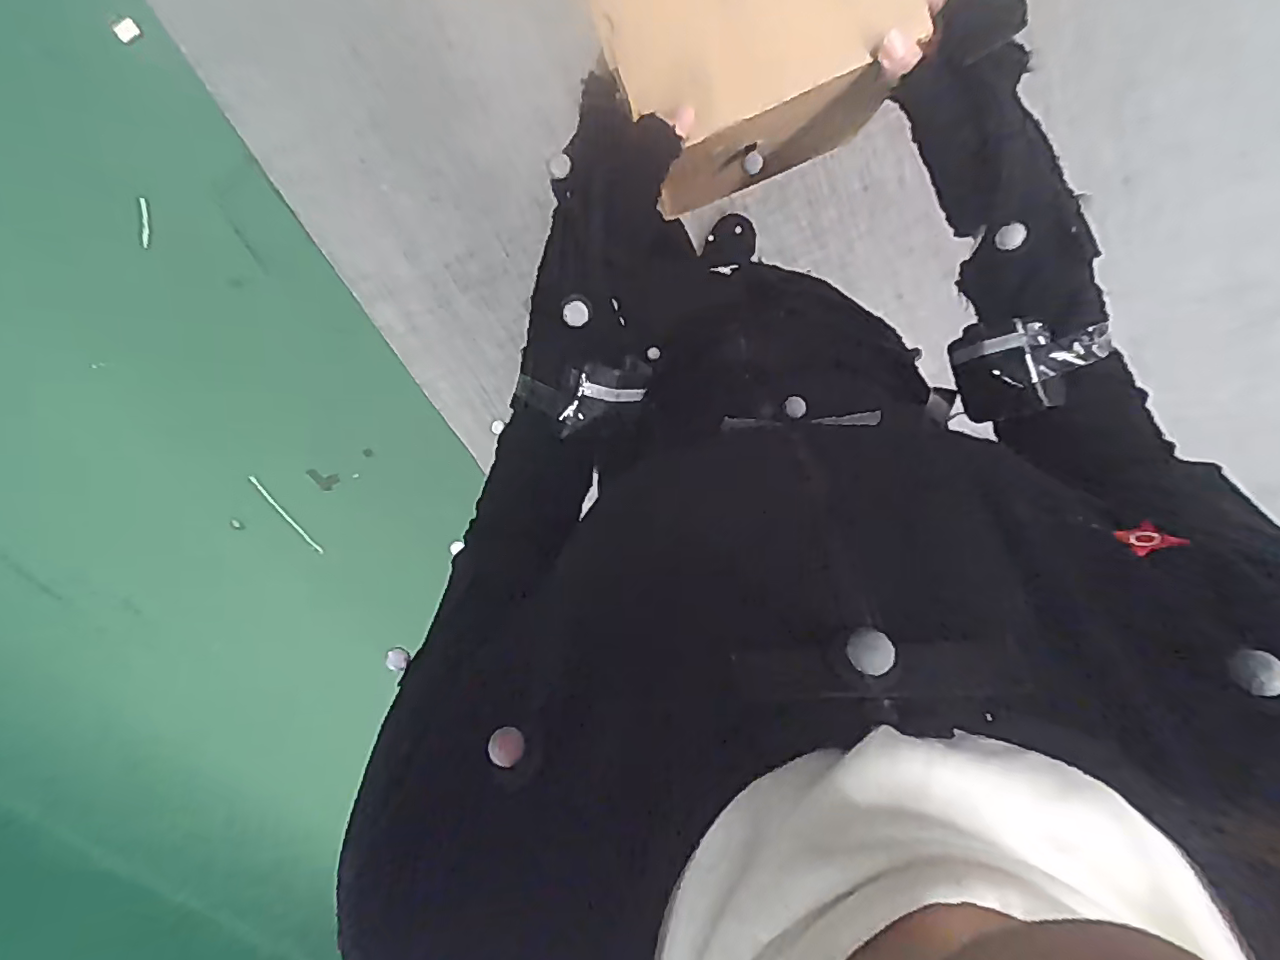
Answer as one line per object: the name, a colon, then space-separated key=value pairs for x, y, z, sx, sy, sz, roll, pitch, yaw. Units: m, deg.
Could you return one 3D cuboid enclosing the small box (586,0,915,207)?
small box: x=0.063 y=-0.330 z=0.390 sx=0.179 sy=0.176 sz=0.168 roll=-22 pitch=98 yaw=12
